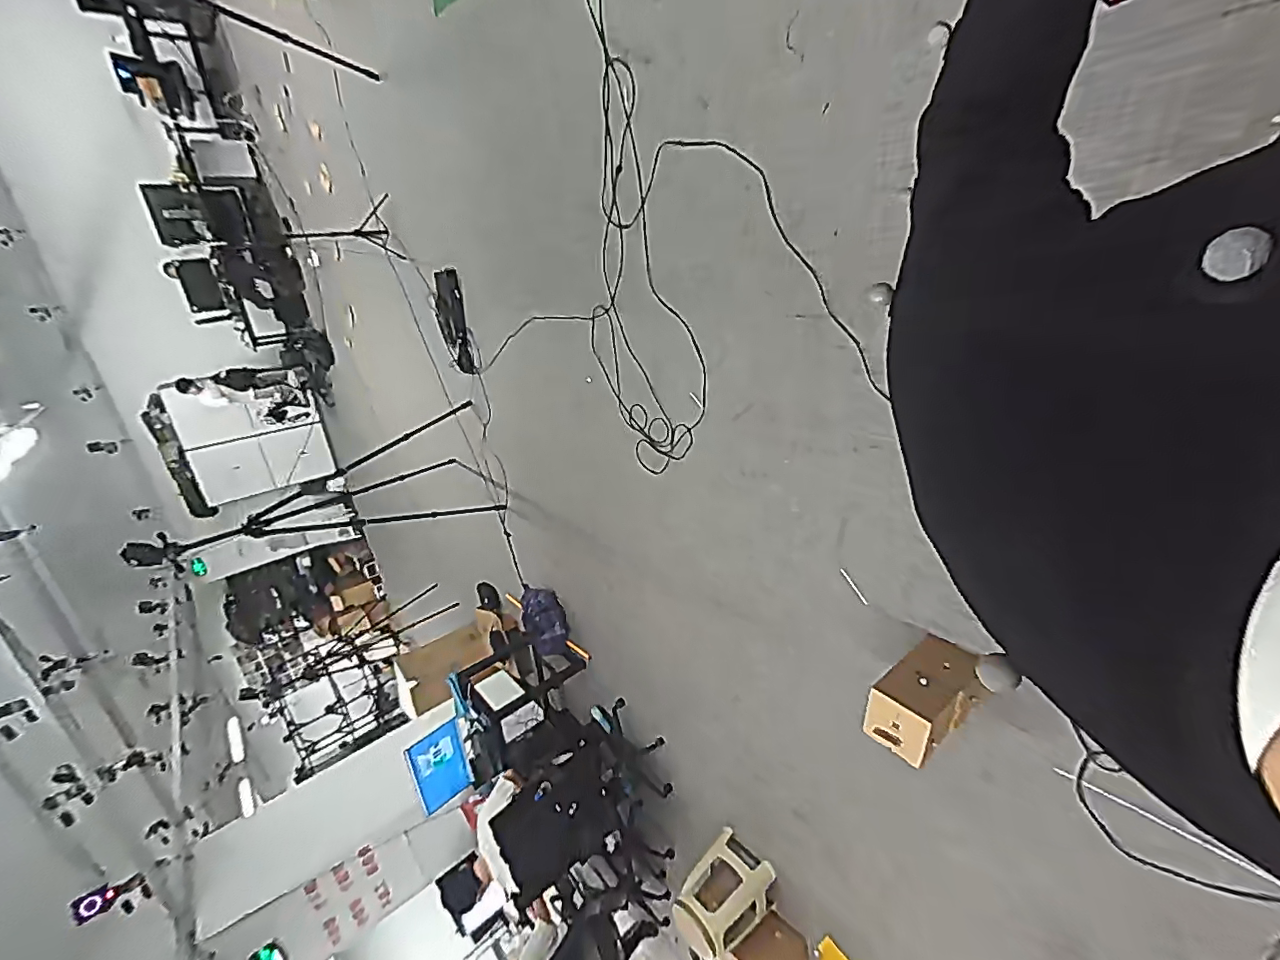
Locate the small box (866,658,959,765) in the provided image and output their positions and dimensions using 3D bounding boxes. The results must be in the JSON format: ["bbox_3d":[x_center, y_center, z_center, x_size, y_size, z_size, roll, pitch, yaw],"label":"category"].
[{"bbox_3d":[0.761,0.639,1.508,0.168,0.176,0.179,25,127,44],"label":"small box"}]

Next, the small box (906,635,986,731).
[{"bbox_3d":[0.890,0.590,1.598,0.179,0.176,0.168,24,126,44],"label":"small box"}]
